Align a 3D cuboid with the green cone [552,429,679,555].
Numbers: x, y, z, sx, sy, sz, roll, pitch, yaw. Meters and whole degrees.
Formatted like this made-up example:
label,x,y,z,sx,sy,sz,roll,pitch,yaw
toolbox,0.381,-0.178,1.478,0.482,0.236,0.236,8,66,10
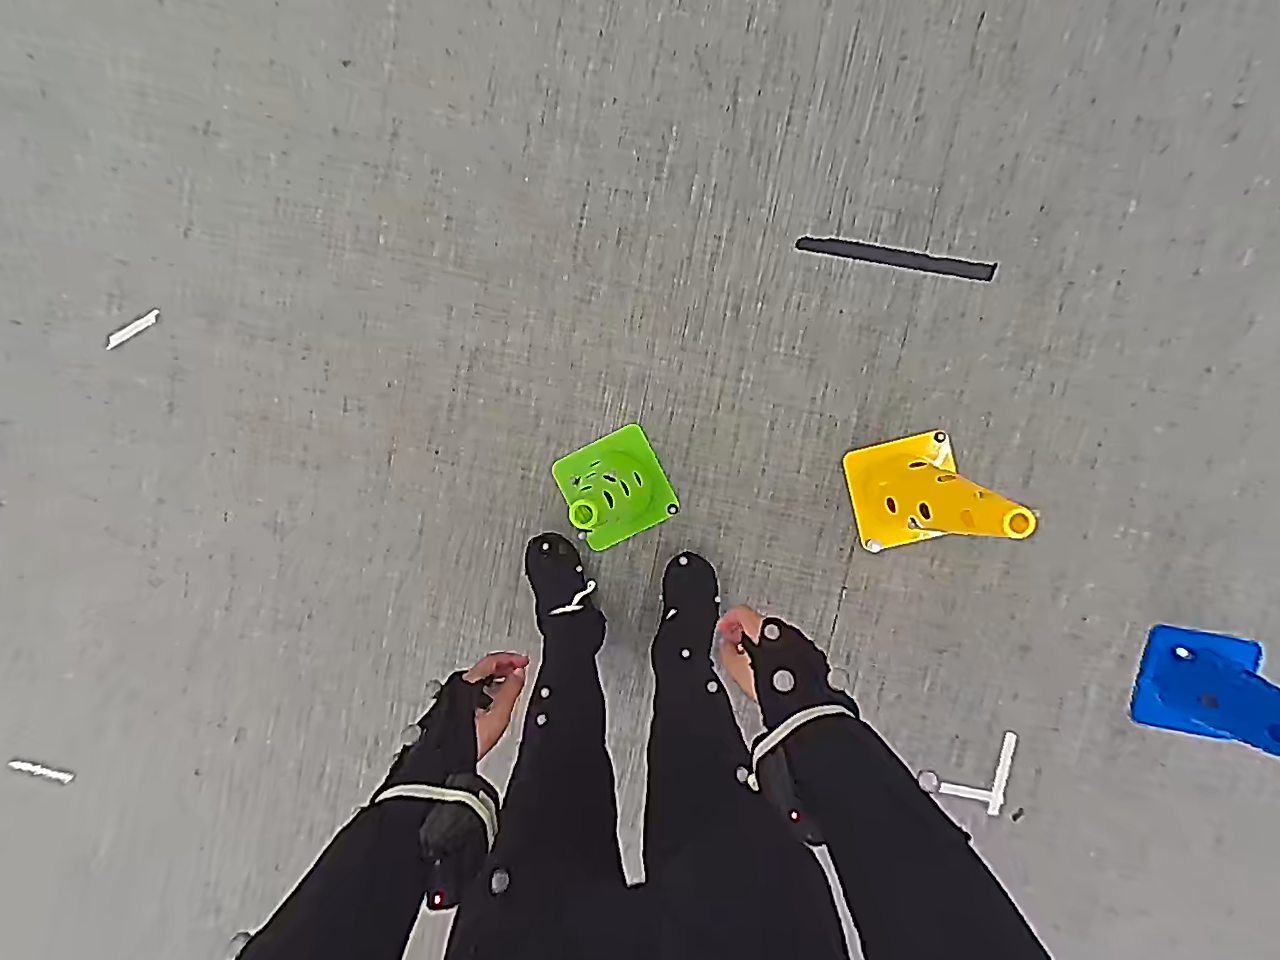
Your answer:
label,x,y,z,sx,sy,sz,roll,pitch,yaw
green cone,-0.064,0.037,0.893,0.202,0.368,0.200,-28,91,7
